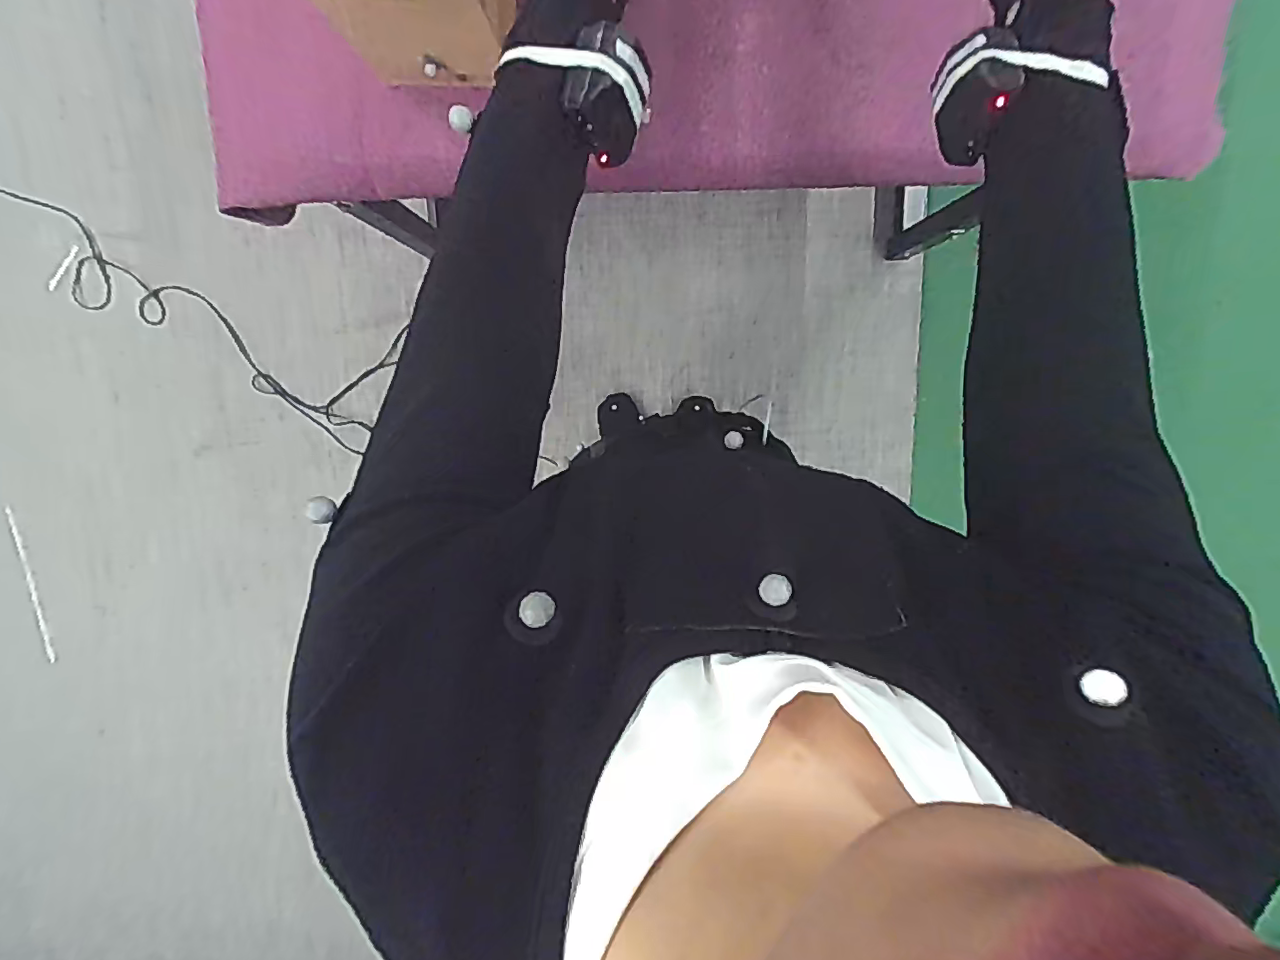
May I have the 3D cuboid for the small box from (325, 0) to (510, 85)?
[{"bbox_3d":[-0.235,-0.554,0.560,0.168,0.176,0.179,2,101,-1],"label":"small box"}]
